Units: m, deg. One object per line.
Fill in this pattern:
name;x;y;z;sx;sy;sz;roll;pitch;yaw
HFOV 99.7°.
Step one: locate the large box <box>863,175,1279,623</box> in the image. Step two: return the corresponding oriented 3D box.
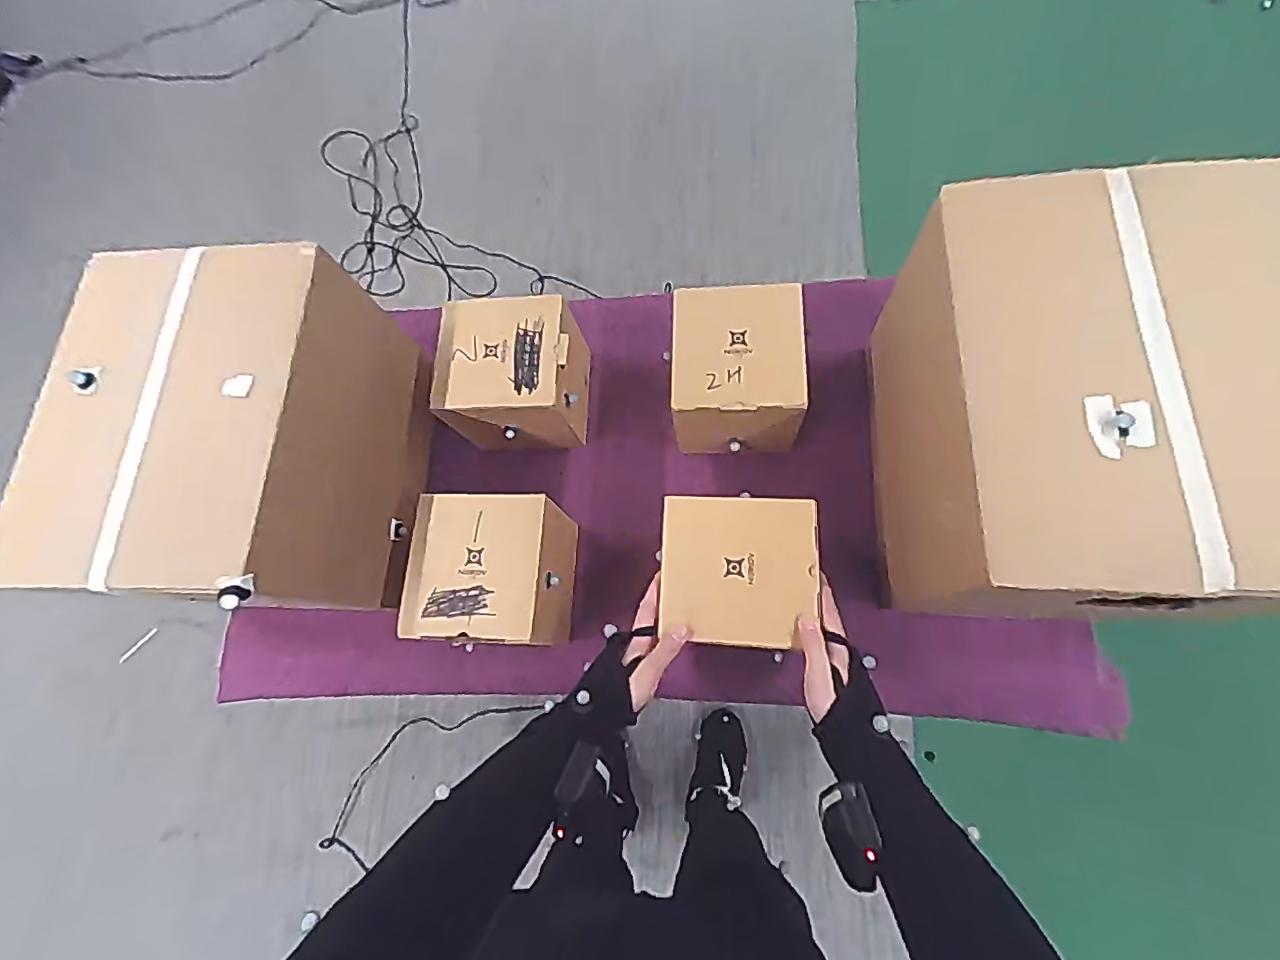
large box;0.462;-0.056;0.611;0.320;0.320;0.408;0;74;9
